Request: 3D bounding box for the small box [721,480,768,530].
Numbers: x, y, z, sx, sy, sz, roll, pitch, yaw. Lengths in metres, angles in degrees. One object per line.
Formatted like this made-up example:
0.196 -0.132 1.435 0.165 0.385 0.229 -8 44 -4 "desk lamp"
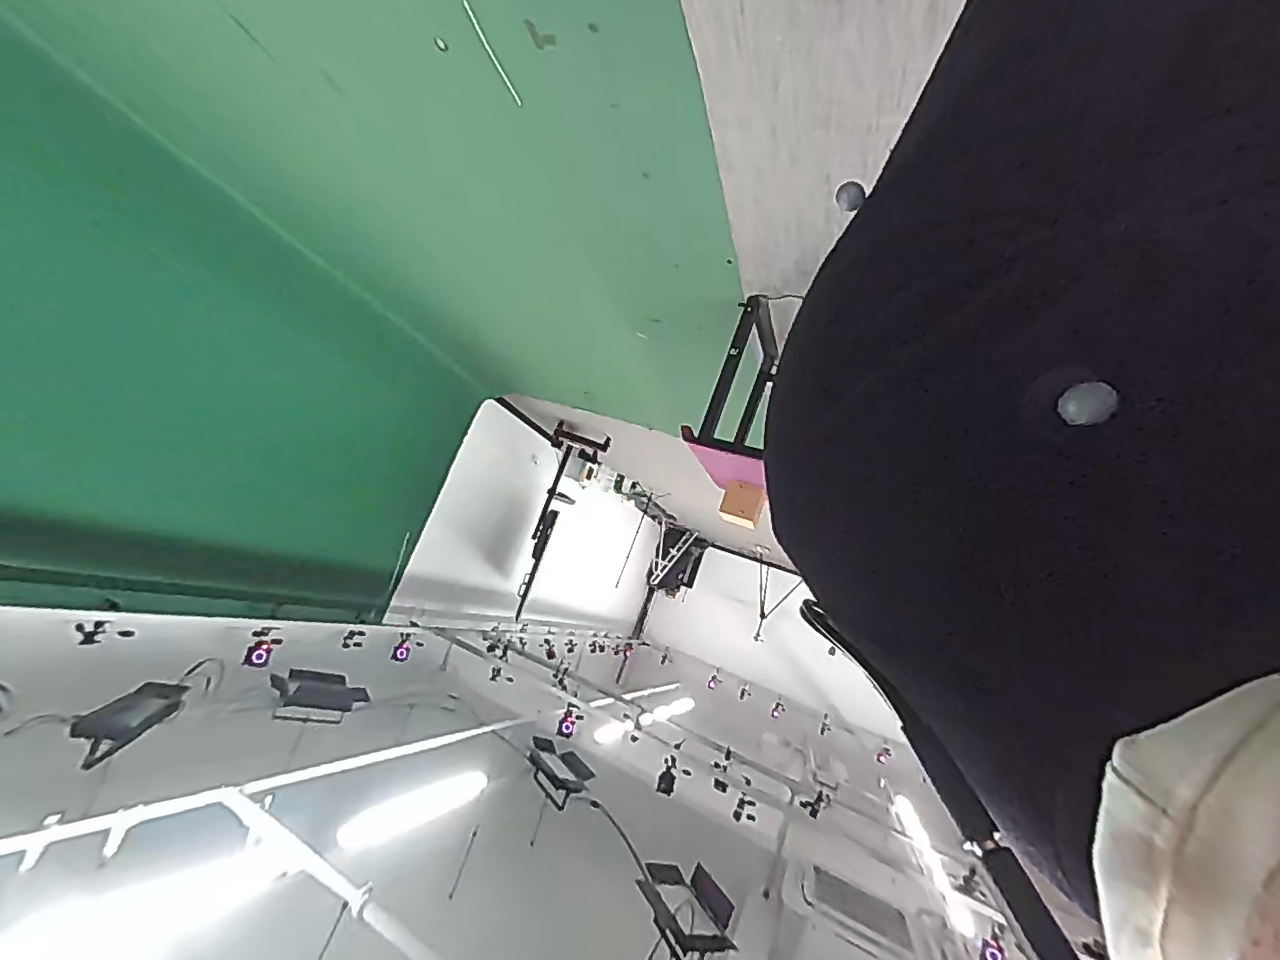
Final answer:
0.493 0.117 2.533 0.168 0.176 0.179 16 169 21 "small box"
